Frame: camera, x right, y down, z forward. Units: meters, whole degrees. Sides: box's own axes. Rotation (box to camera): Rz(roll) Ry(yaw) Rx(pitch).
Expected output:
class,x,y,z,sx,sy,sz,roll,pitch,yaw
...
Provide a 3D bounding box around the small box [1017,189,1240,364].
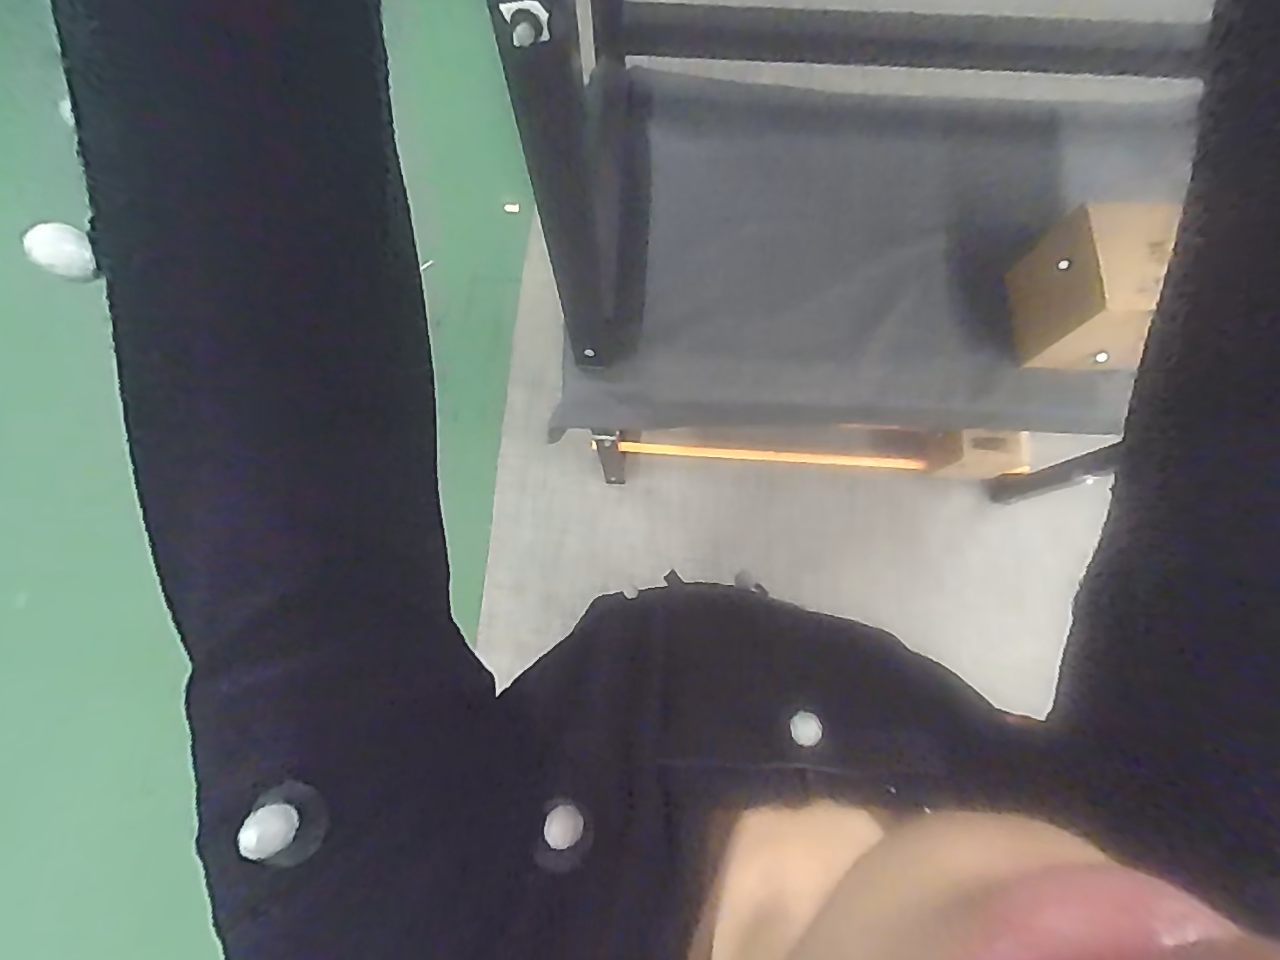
class,x,y,z,sx,sy,sz,roll,pitch,yaw
small box,0.695,-0.292,0.797,0.168,0.176,0.179,2,75,1
